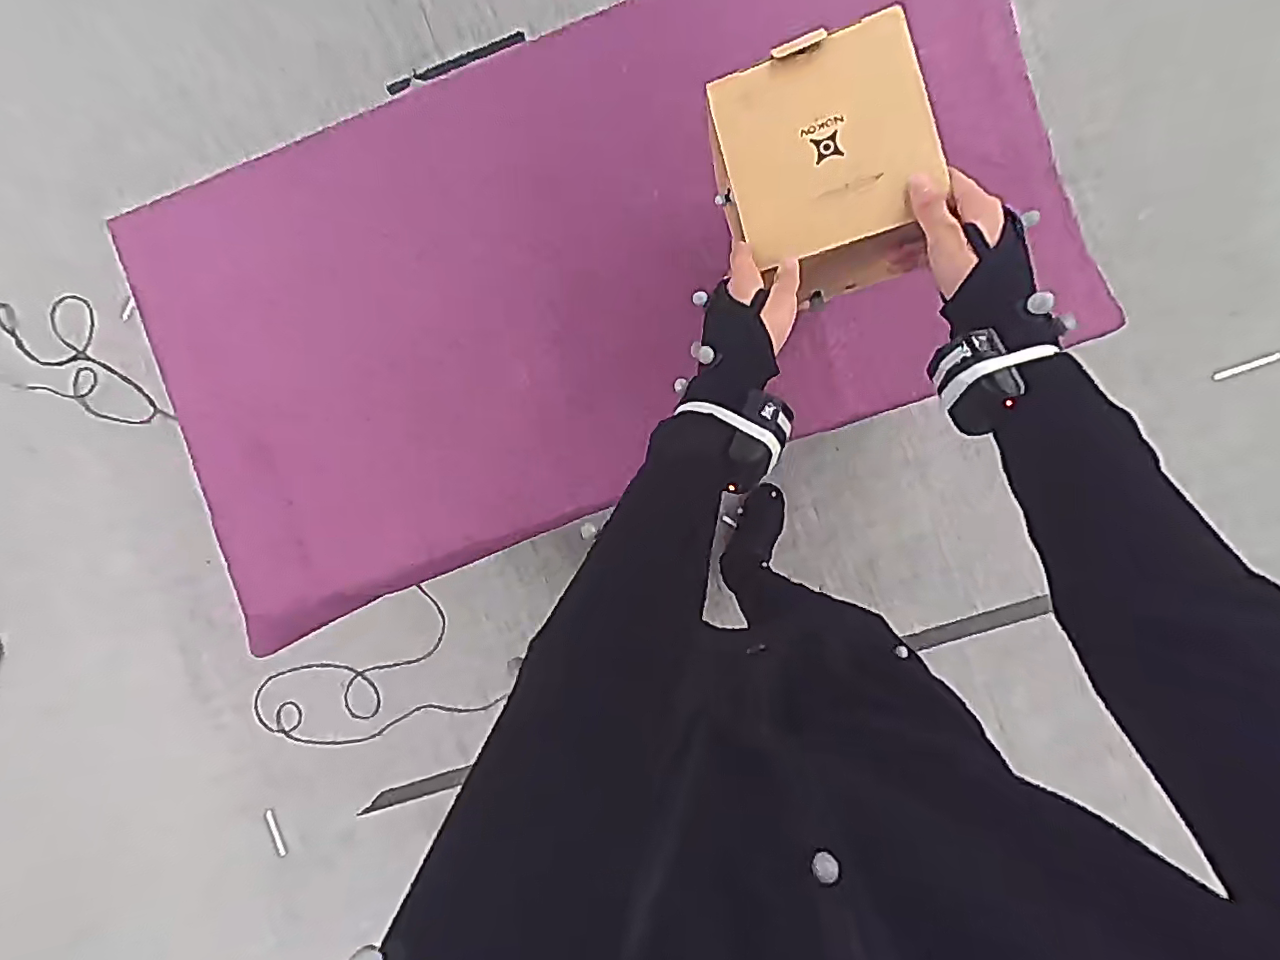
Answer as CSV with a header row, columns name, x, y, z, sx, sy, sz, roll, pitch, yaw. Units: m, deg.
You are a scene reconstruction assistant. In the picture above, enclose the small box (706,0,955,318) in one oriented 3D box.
name,x,y,z,sx,sy,sz,roll,pitch,yaw
small box,0.166,-0.280,0.518,0.168,0.176,0.179,-14,89,12
